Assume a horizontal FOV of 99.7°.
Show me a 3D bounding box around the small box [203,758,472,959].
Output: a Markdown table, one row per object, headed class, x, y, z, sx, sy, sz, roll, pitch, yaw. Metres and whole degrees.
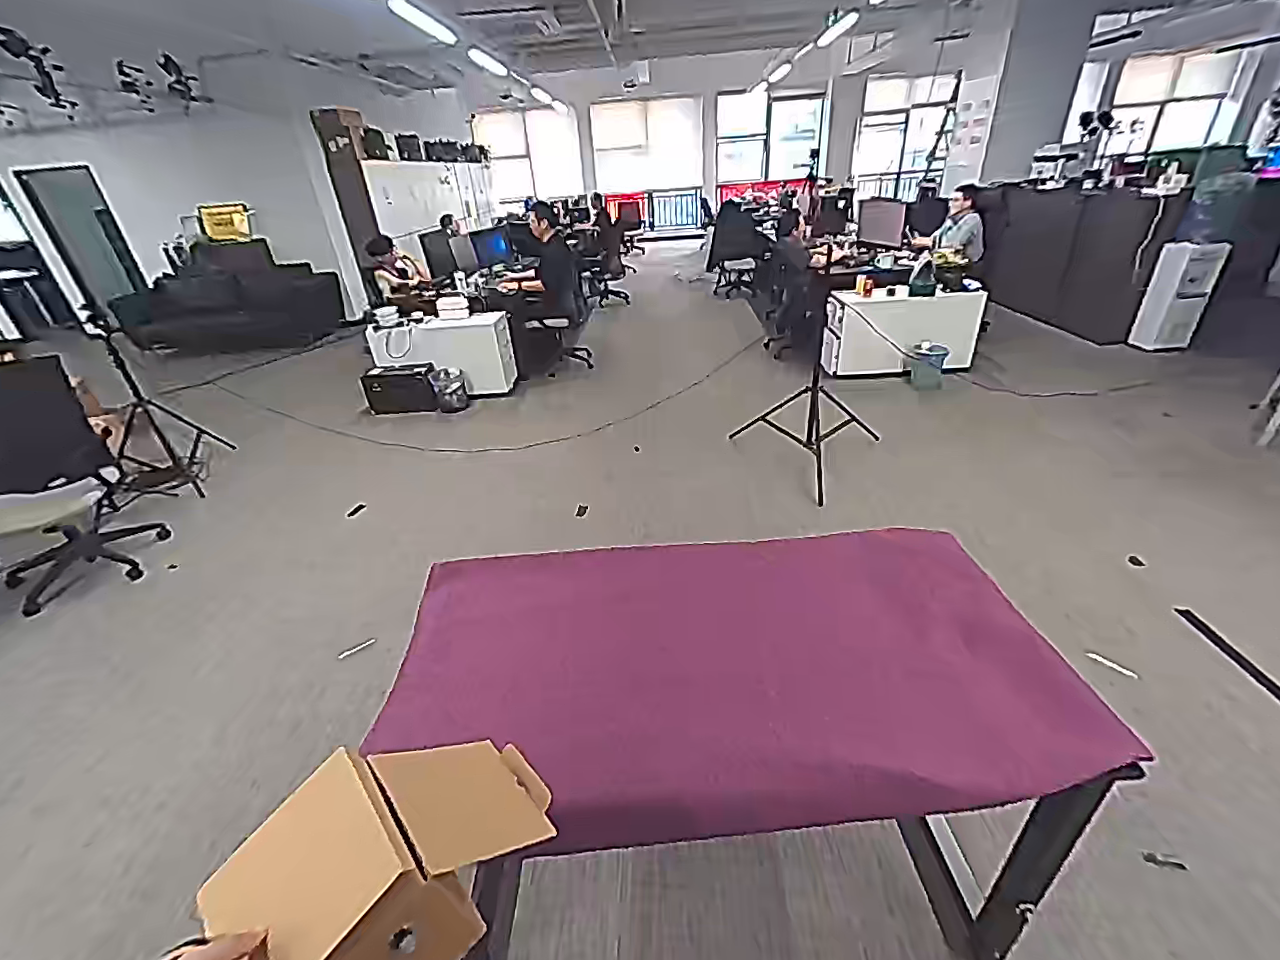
| class | x | y | z | sx | sy | sz | roll | pitch | yaw |
| --- | --- | --- | --- | --- | --- | --- | --- | --- | --- |
| small box | -0.296 | 0.444 | 0.560 | 0.179 | 0.176 | 0.168 | -35 | 42 | -29 |
